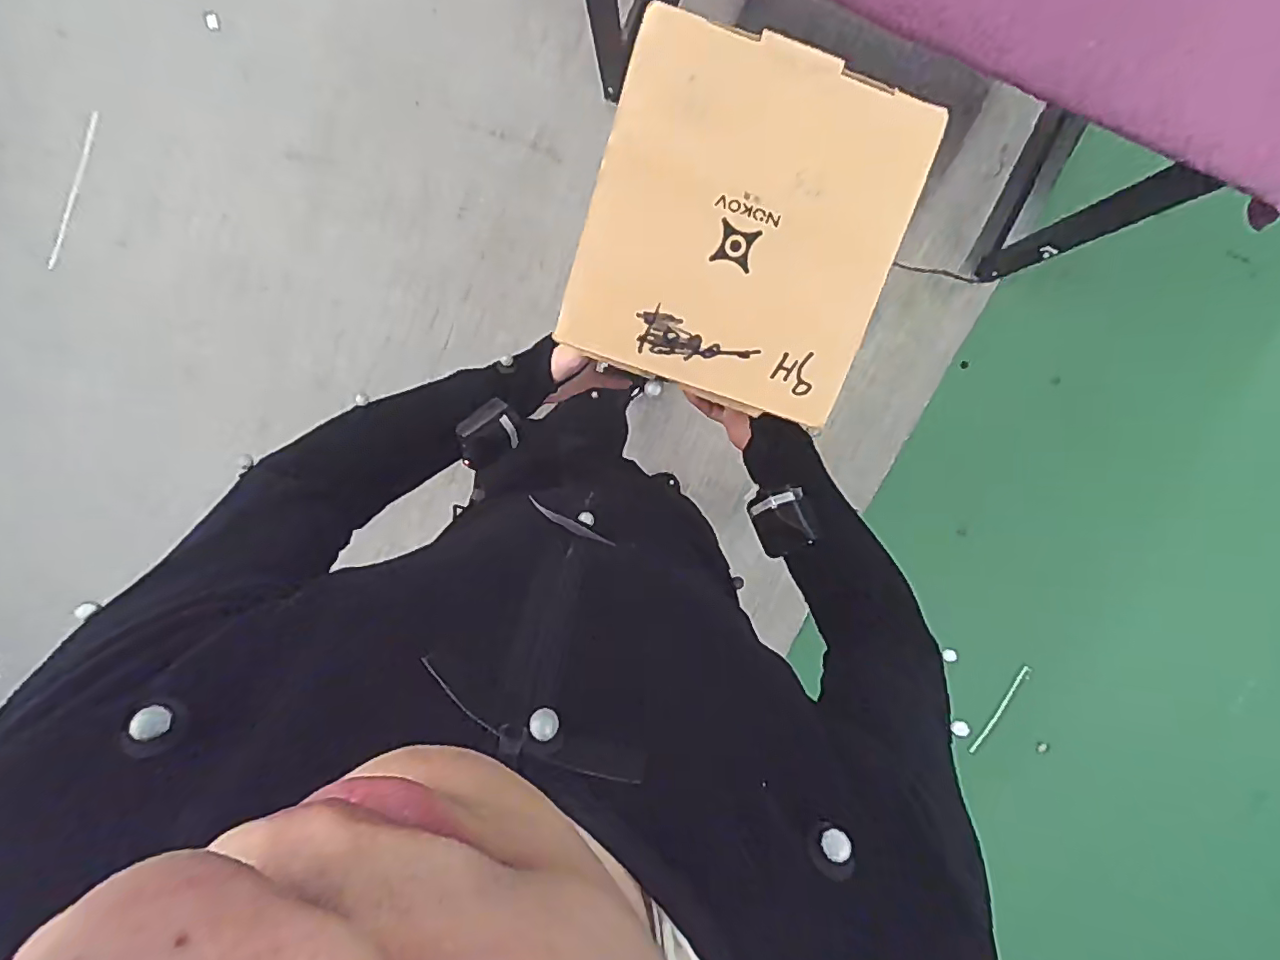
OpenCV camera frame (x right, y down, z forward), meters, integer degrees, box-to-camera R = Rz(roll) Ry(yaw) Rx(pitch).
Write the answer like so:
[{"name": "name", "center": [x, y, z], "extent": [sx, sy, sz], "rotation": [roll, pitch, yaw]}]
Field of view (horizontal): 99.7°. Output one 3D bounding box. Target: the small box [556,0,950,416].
[{"name": "small box", "center": [0.057, -0.157, 0.364], "extent": [0.168, 0.176, 0.179], "rotation": [18, 102, -2]}]

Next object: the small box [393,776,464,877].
[{"name": "small box", "center": [-0.672, 1.075, 1.689], "extent": [0.168, 0.176, 0.179], "rotation": [20, 98, 0]}]
